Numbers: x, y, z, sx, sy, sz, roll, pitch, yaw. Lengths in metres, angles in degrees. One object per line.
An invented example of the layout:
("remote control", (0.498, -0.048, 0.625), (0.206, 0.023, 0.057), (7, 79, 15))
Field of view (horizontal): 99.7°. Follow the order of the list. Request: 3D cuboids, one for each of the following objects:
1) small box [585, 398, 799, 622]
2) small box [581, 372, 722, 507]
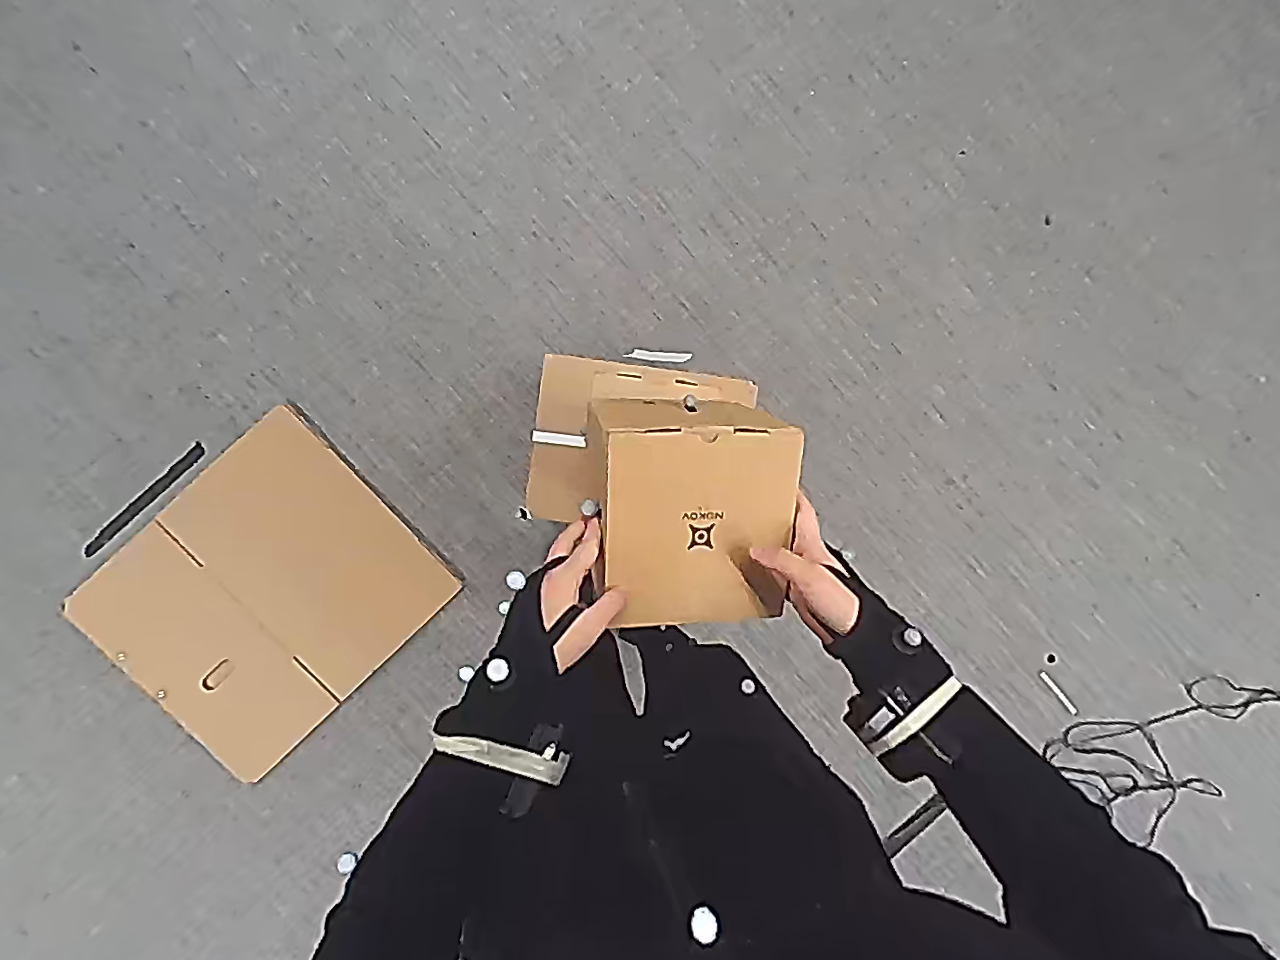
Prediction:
("small box", (0.035, 0.019, 0.532), (0.168, 0.176, 0.179), (-1, 105, -10))
("small box", (0.010, -0.041, 0.763), (0.168, 0.176, 0.179), (6, 90, -2))
